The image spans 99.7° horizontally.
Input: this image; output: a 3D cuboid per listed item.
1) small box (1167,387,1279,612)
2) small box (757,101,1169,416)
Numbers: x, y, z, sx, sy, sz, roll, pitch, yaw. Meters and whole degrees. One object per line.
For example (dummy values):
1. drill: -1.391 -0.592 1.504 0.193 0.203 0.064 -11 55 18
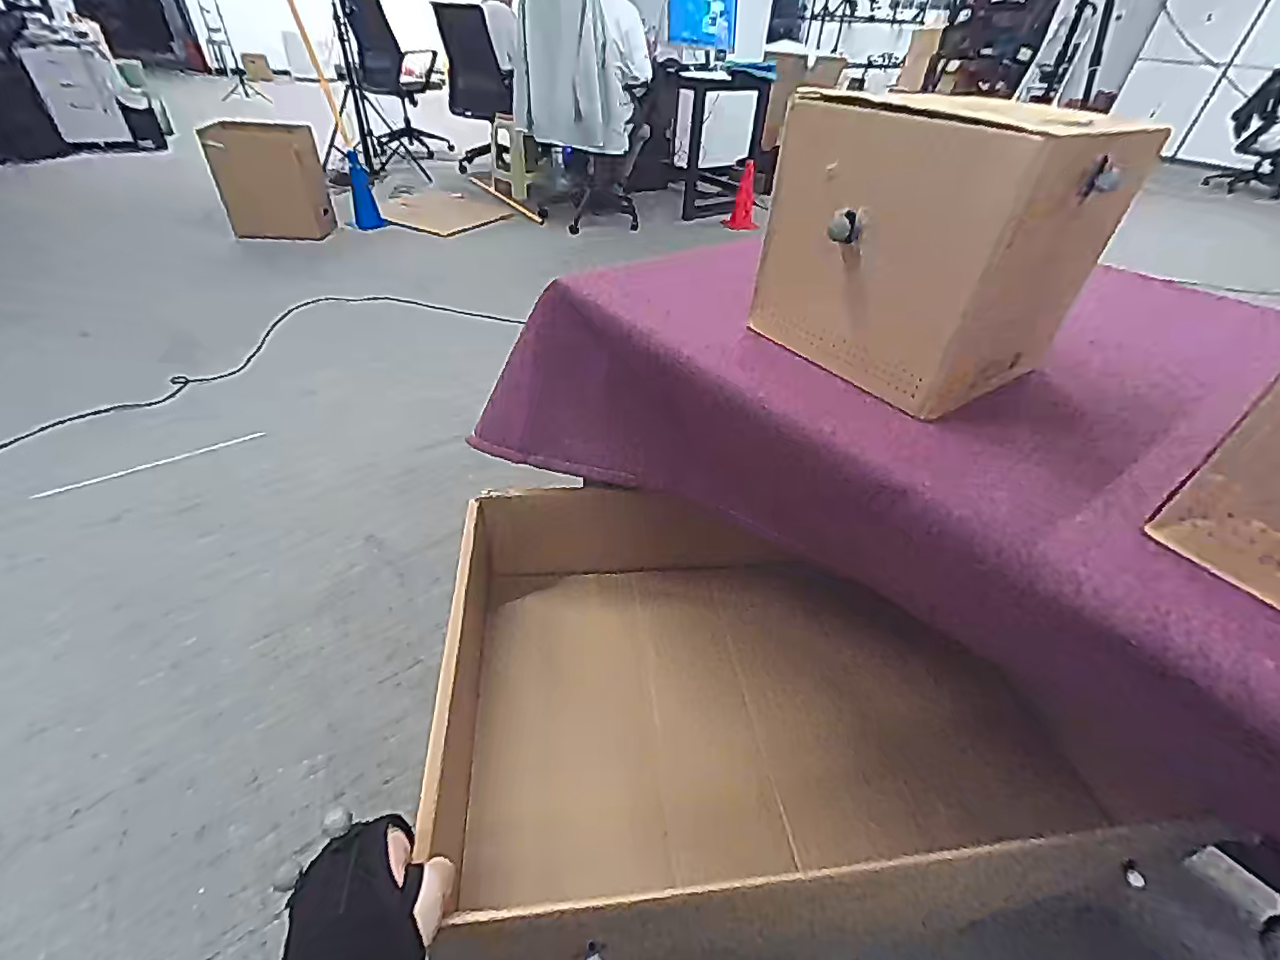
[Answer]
1. small box: 0.389 -0.011 0.223 0.179 0.176 0.168 -20 45 -24
2. small box: 0.210 -0.171 0.400 0.168 0.176 0.179 -23 46 -28
